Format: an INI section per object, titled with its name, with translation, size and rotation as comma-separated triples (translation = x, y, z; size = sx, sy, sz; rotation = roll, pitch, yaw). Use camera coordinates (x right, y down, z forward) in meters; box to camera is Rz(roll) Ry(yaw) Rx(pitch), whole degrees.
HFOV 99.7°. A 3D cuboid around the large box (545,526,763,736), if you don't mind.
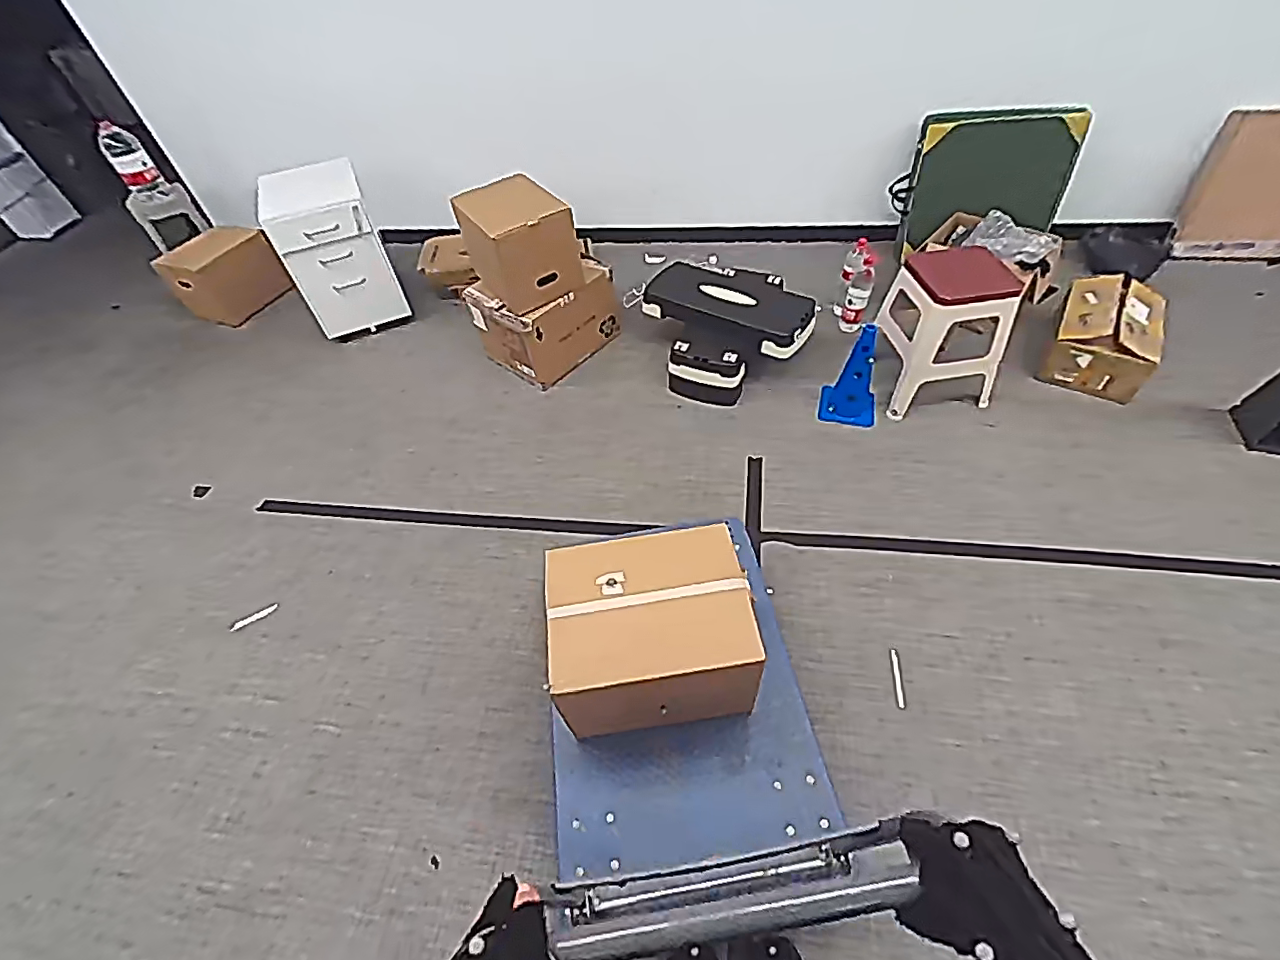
[large box]
translation = 0.025, 0.341, 1.200
size = 0.408, 0.320, 0.320
rotation = -9, 50, -1
